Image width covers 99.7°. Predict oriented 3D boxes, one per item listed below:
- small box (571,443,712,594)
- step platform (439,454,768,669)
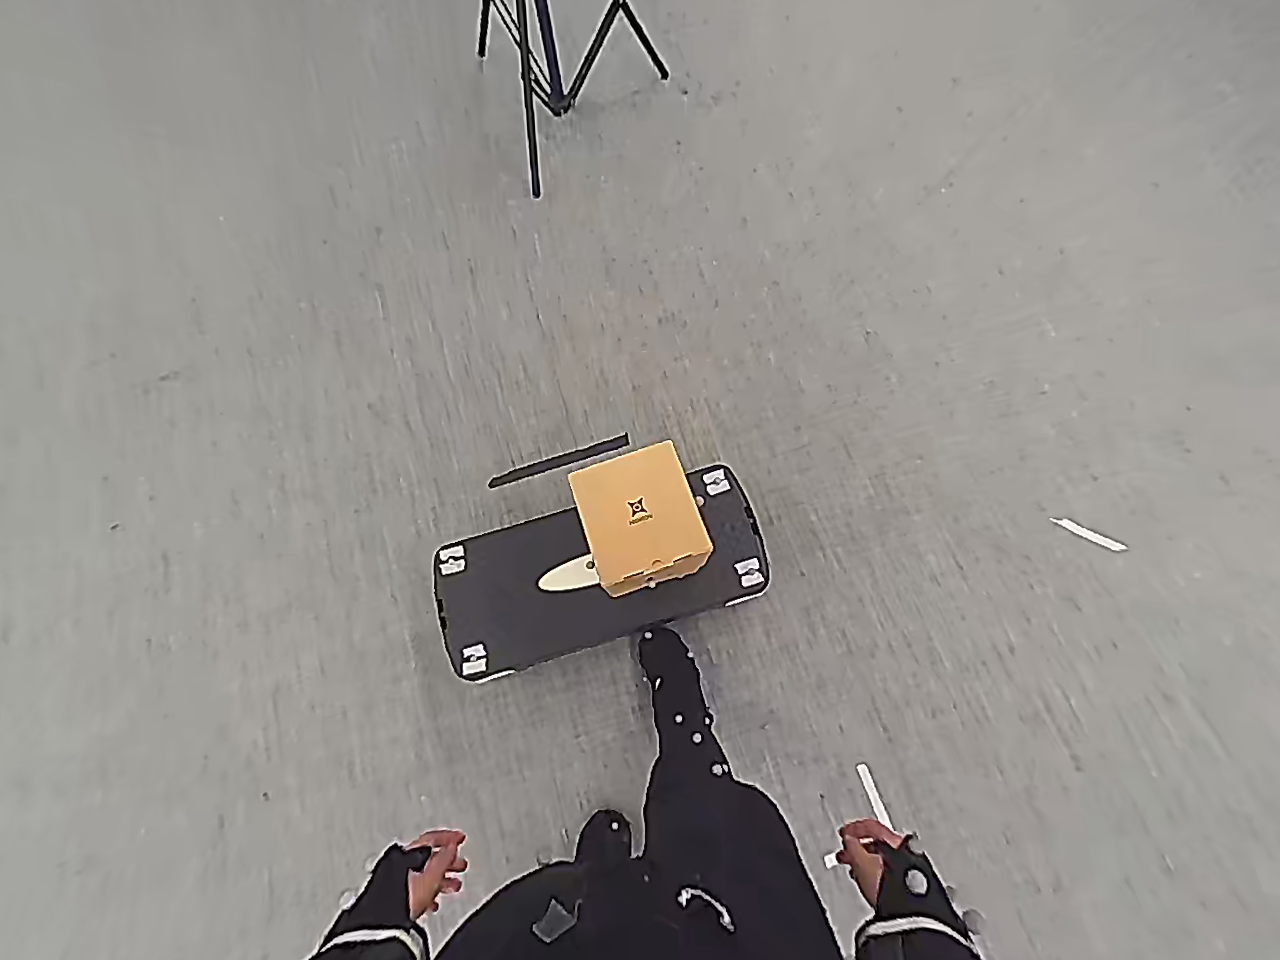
[{"bbox_3d":[-0.001,0.068,0.857,0.168,0.176,0.179,-19,75,-4],"label":"small box"},{"bbox_3d":[-0.076,0.176,1.178,0.684,0.204,0.286,-17,73,-2],"label":"step platform"}]
